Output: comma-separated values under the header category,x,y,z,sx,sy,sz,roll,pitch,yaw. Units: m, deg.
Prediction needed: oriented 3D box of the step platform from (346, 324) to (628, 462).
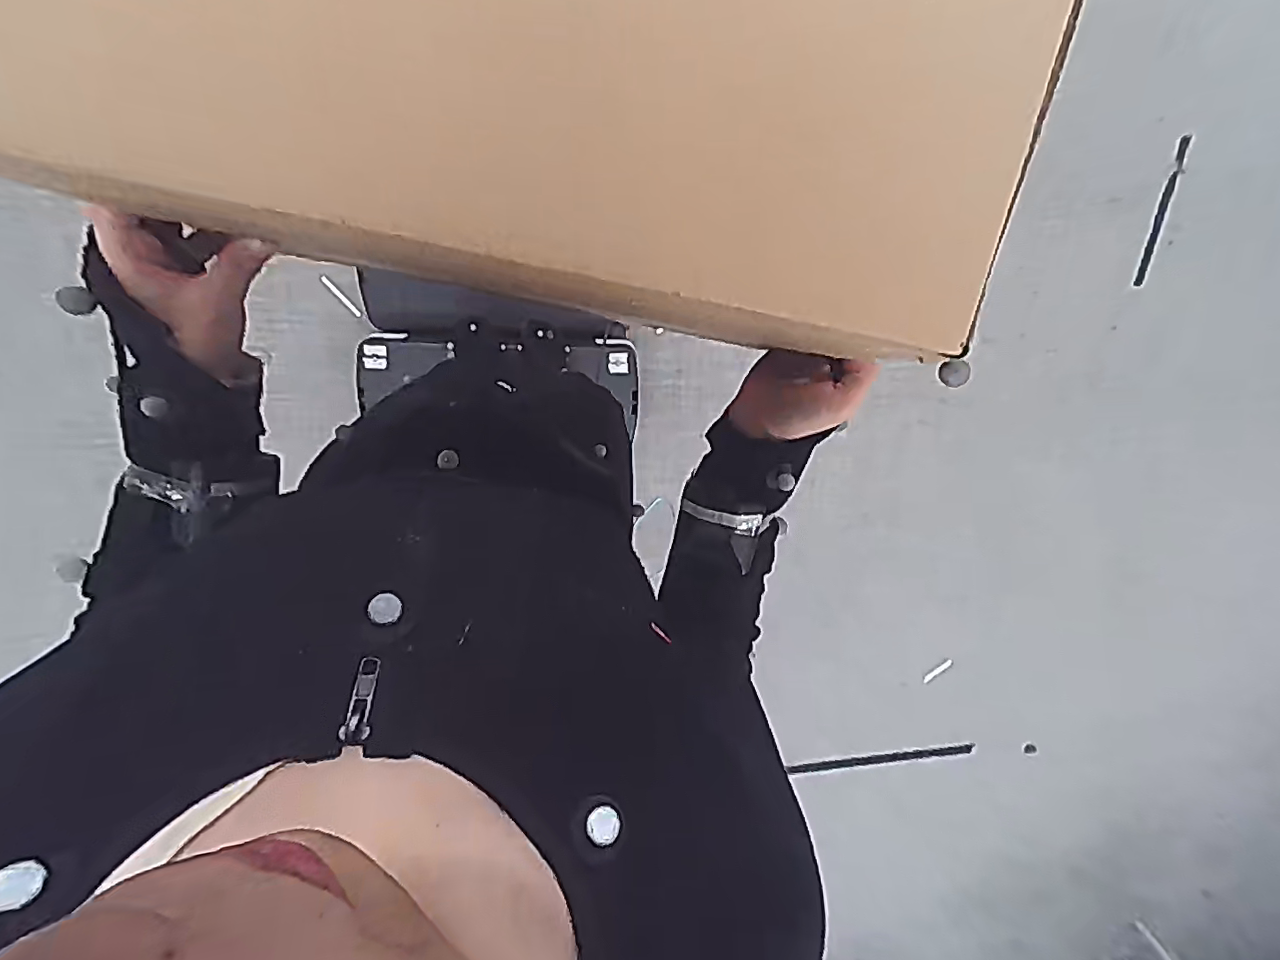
category,x,y,z,sx,sy,sz,roll,pitch,yaw
step platform,-0.372,-0.221,1.394,0.684,0.204,0.286,4,109,-9

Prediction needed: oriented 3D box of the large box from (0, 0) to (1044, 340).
category,x,y,z,sx,sy,sz,roll,pitch,yaw
large box,-0.058,-0.273,0.301,0.408,0.320,0.320,8,106,-7
